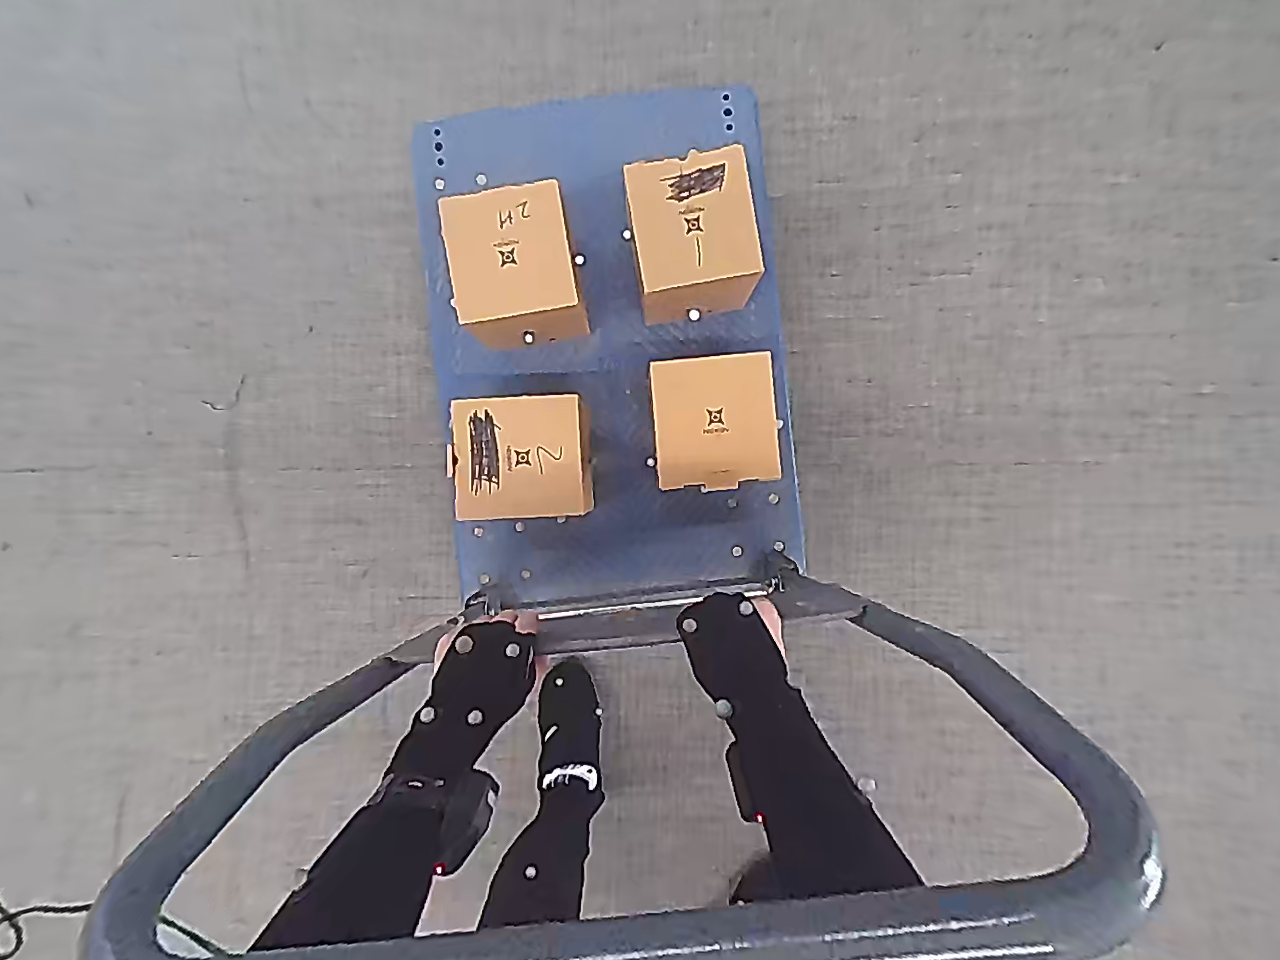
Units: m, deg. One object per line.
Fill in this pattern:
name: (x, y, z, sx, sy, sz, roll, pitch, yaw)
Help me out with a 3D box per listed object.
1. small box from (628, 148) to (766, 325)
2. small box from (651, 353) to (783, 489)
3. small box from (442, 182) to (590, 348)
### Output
small box: (0.076, -0.348, 0.802, 0.168, 0.176, 0.179, -9, 91, 2)
small box: (0.105, -0.078, 0.805, 0.168, 0.176, 0.179, -5, 91, 1)
small box: (-0.173, -0.304, 0.806, 0.168, 0.176, 0.179, -9, 90, 0)
